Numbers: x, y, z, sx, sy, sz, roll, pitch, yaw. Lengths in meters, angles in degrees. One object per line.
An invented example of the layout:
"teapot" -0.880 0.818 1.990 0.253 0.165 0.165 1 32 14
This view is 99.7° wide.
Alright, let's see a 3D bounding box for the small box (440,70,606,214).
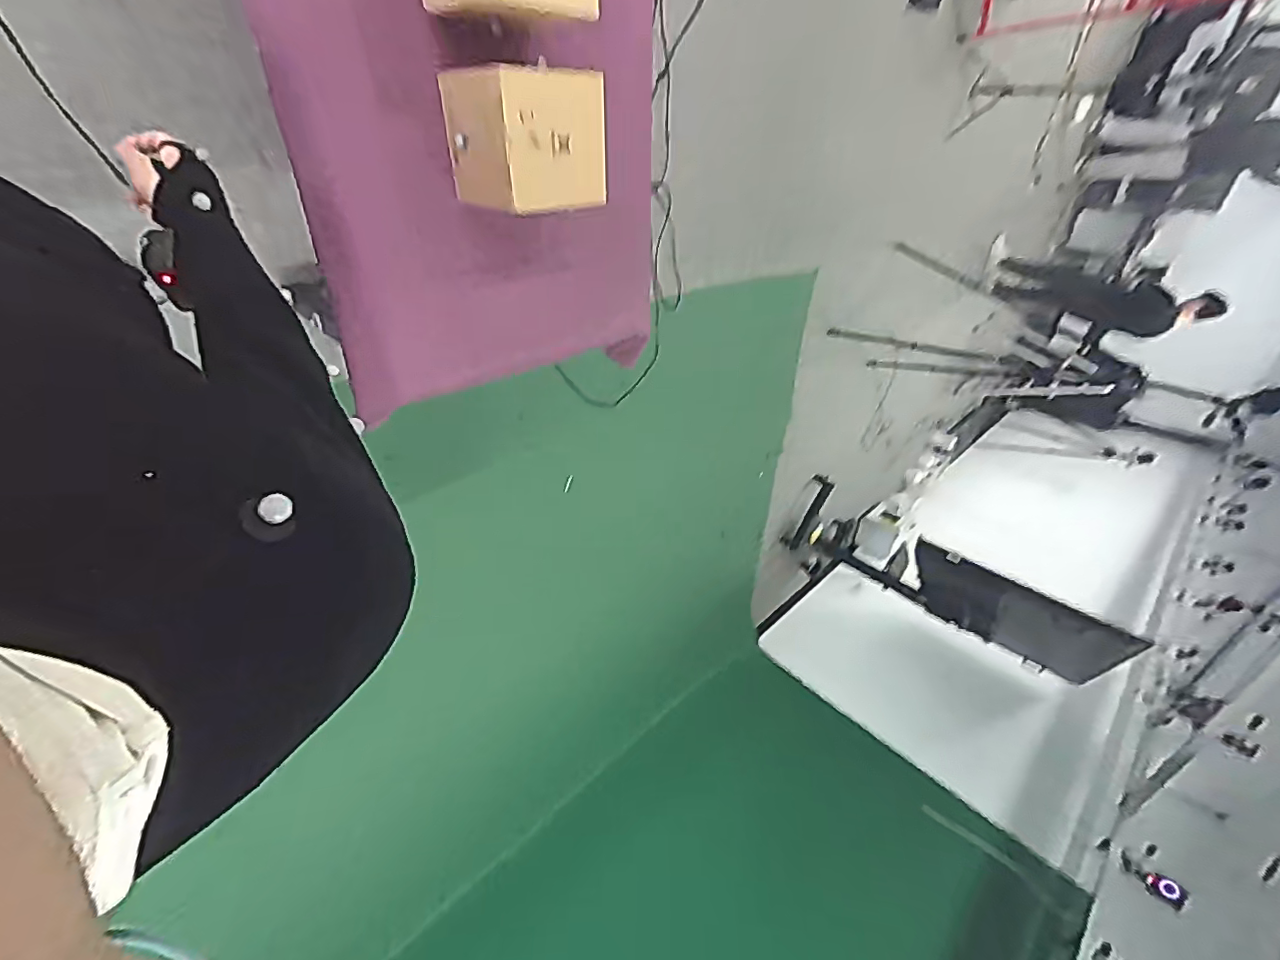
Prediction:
"small box" -0.170 -0.504 0.810 0.179 0.176 0.168 -26 131 -35
